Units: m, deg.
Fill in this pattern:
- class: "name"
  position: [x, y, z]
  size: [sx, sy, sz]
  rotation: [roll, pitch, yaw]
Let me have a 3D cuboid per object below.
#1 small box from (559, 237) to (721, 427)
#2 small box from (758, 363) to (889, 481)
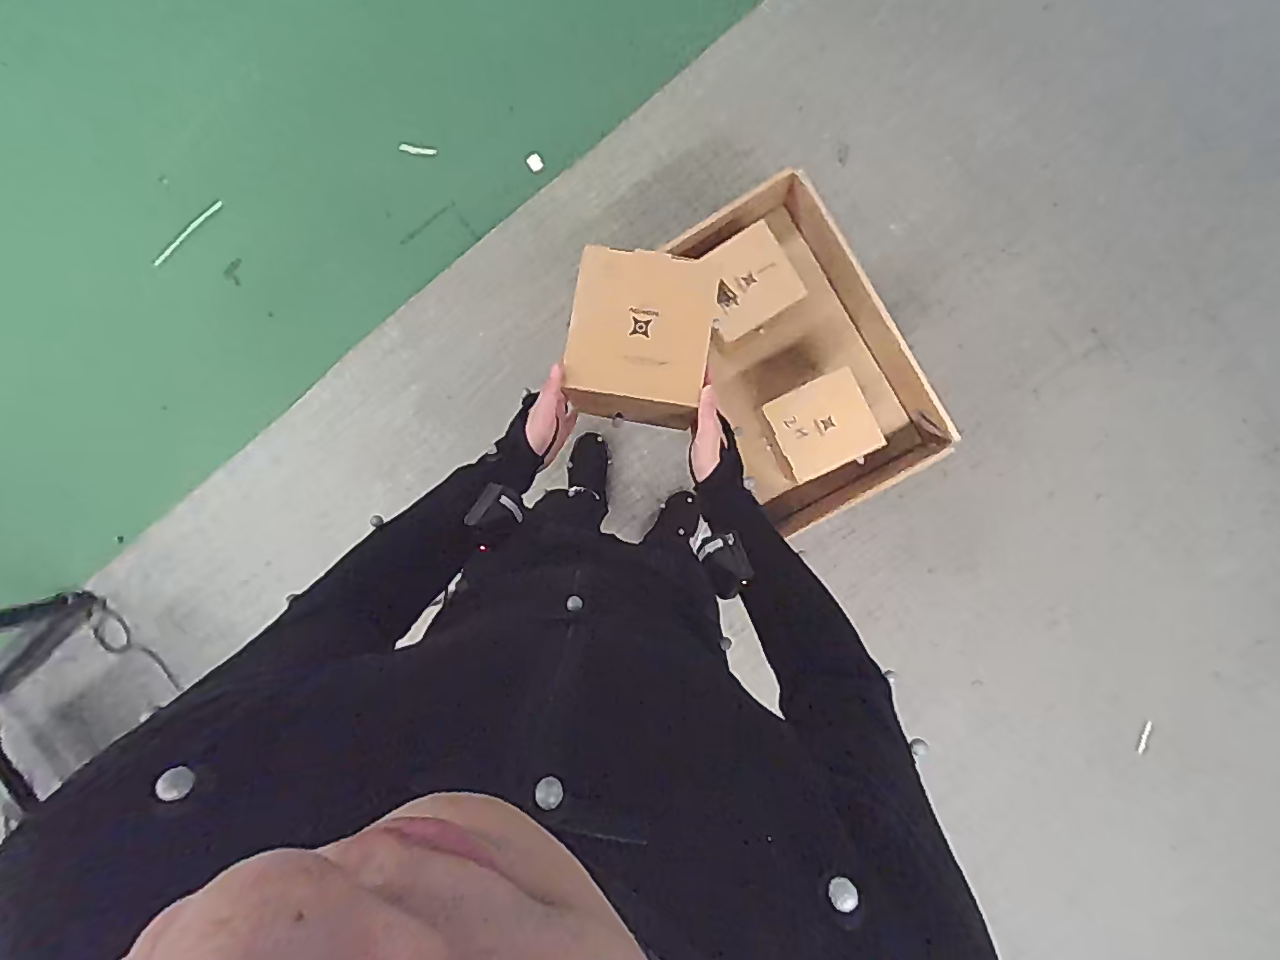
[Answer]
- class: "small box"
  position: [0.000, -0.177, 0.695]
  size: [0.168, 0.176, 0.179]
  rotation: [9, 87, 1]
- class: "small box"
  position: [0.351, -0.112, 1.070]
  size: [0.179, 0.176, 0.168]
  rotation: [-25, 90, 8]
